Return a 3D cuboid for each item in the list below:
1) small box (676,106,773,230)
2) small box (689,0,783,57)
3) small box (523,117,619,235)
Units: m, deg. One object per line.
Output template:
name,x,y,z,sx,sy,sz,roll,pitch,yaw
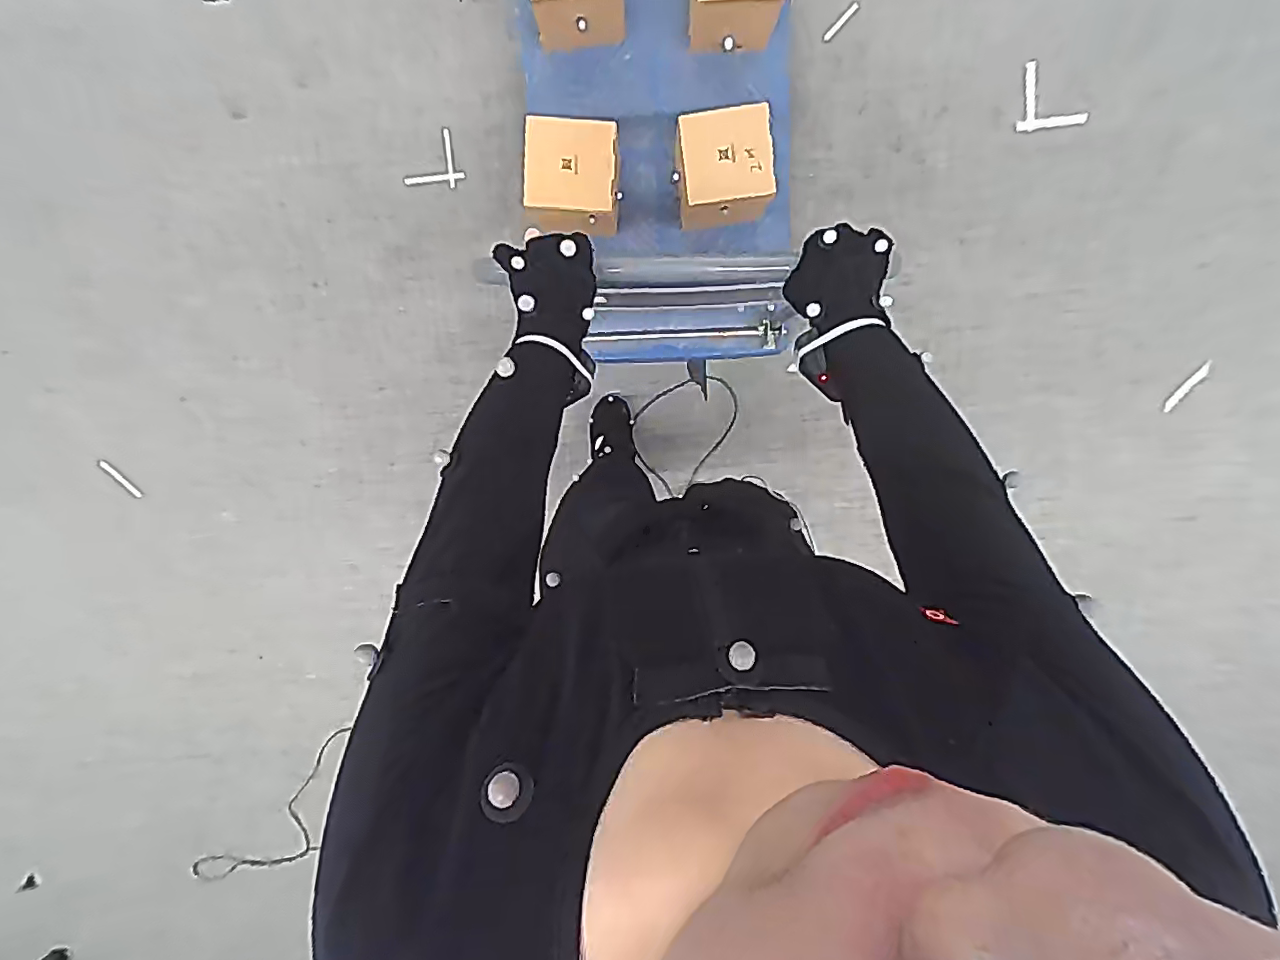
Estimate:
small box,0.168,-0.640,1.130,0.179,0.176,0.168,-7,98,2
small box,0.185,-0.991,1.077,0.168,0.176,0.179,-1,100,1
small box,-0.139,-0.627,1.135,0.179,0.176,0.168,3,98,-1
